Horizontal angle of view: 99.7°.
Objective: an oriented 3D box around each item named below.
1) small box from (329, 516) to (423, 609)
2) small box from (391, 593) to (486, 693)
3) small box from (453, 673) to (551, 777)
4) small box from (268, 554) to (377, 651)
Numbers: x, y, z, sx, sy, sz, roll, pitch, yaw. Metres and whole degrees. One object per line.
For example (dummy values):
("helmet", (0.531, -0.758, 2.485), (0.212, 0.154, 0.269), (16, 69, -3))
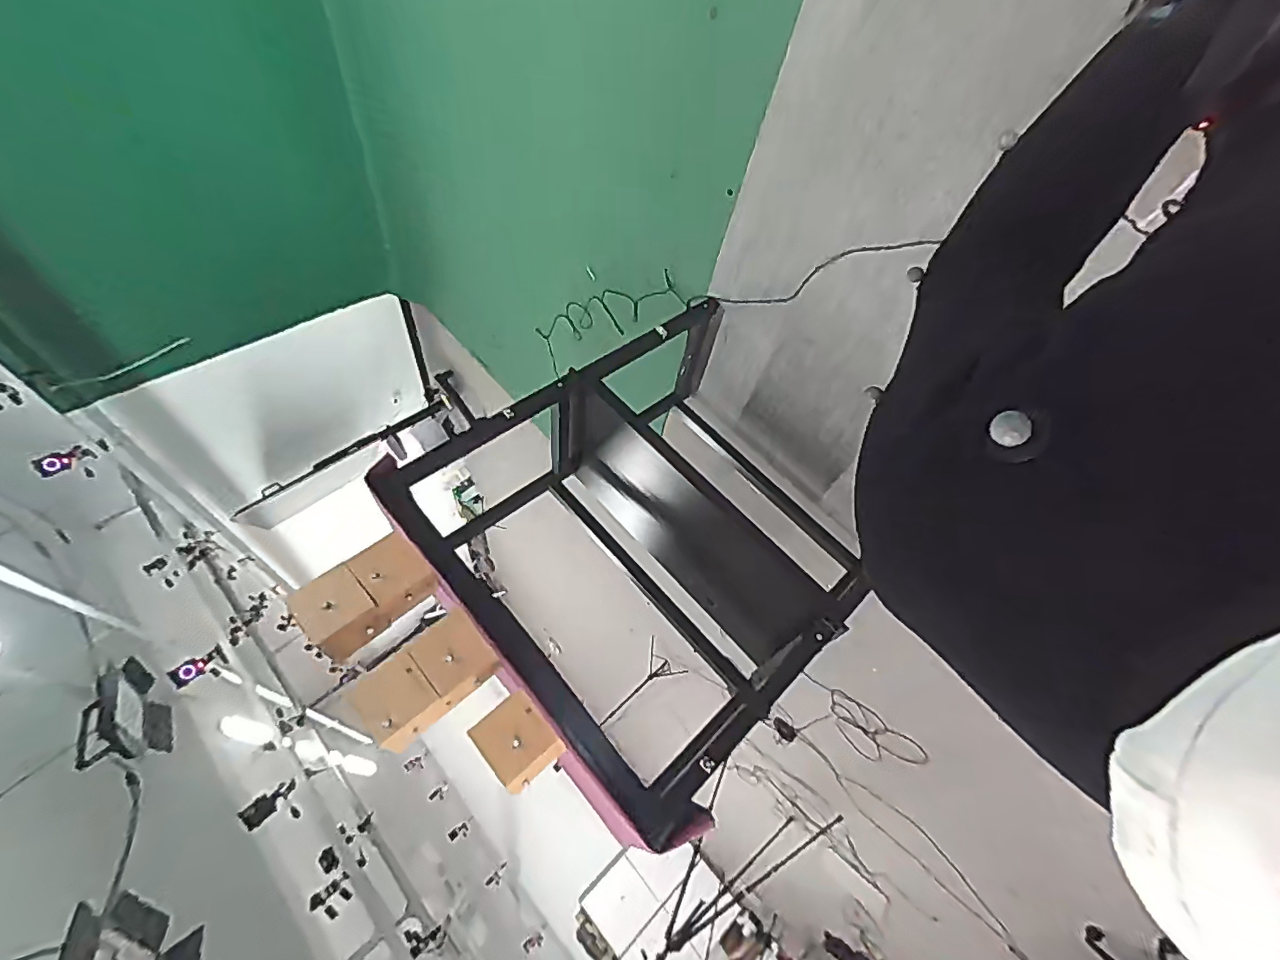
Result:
("small box", (-0.744, 0.236, 1.551), (0.179, 0.176, 0.168), (46, 153, 13))
("small box", (-0.530, 0.438, 1.453), (0.179, 0.176, 0.168), (44, 152, 14))
("small box", (-0.344, 0.622, 1.381), (0.168, 0.176, 0.179), (42, 153, 21))
("small box", (-0.858, 0.326, 1.476), (0.179, 0.176, 0.168), (41, 152, 18))
